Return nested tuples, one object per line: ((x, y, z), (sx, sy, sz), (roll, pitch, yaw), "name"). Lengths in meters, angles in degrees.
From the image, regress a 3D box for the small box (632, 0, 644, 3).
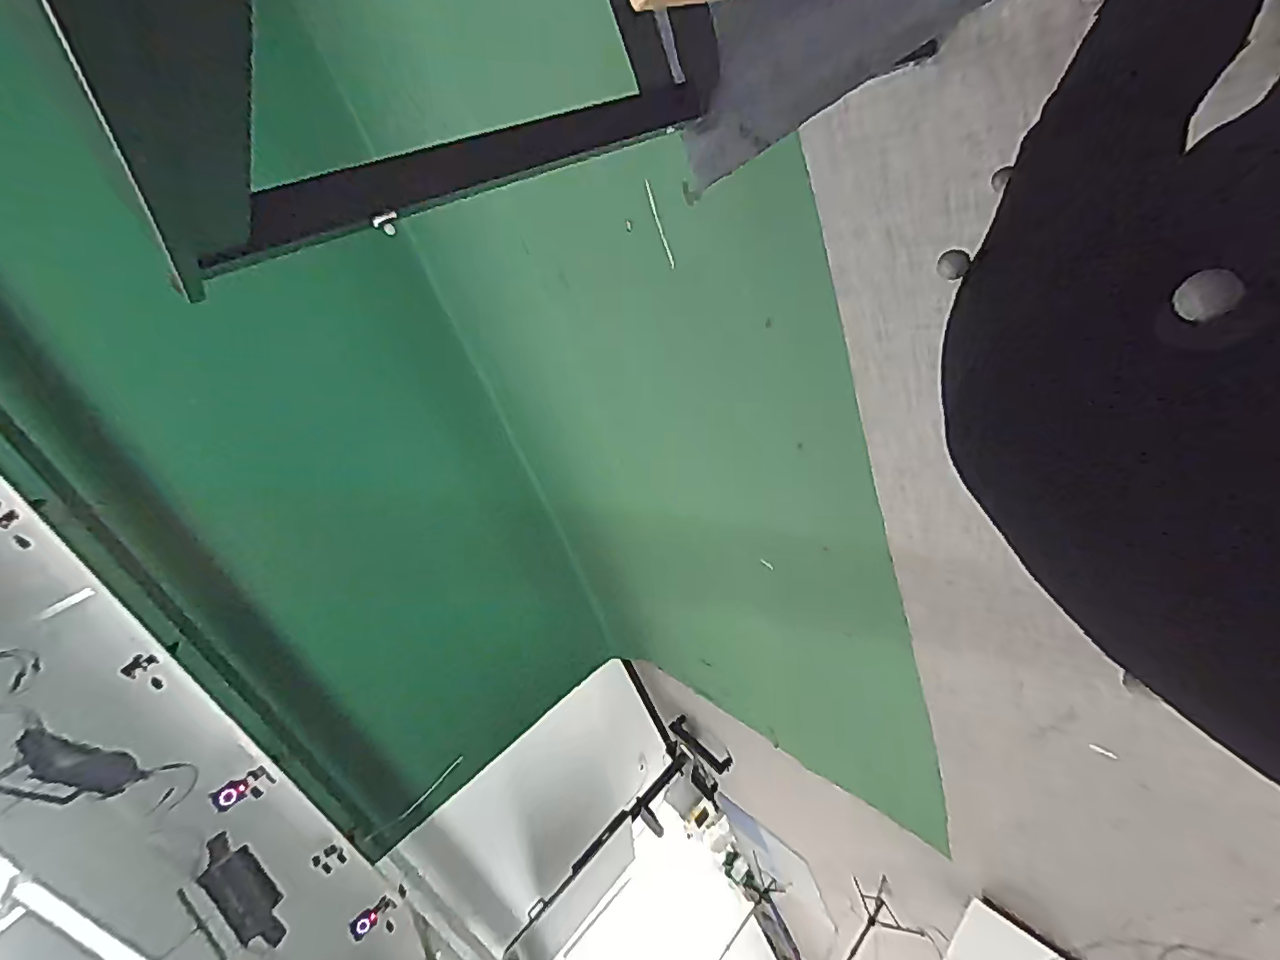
((0.067, -0.679, 0.594), (0.168, 0.176, 0.179), (7, 127, 55), "small box")
